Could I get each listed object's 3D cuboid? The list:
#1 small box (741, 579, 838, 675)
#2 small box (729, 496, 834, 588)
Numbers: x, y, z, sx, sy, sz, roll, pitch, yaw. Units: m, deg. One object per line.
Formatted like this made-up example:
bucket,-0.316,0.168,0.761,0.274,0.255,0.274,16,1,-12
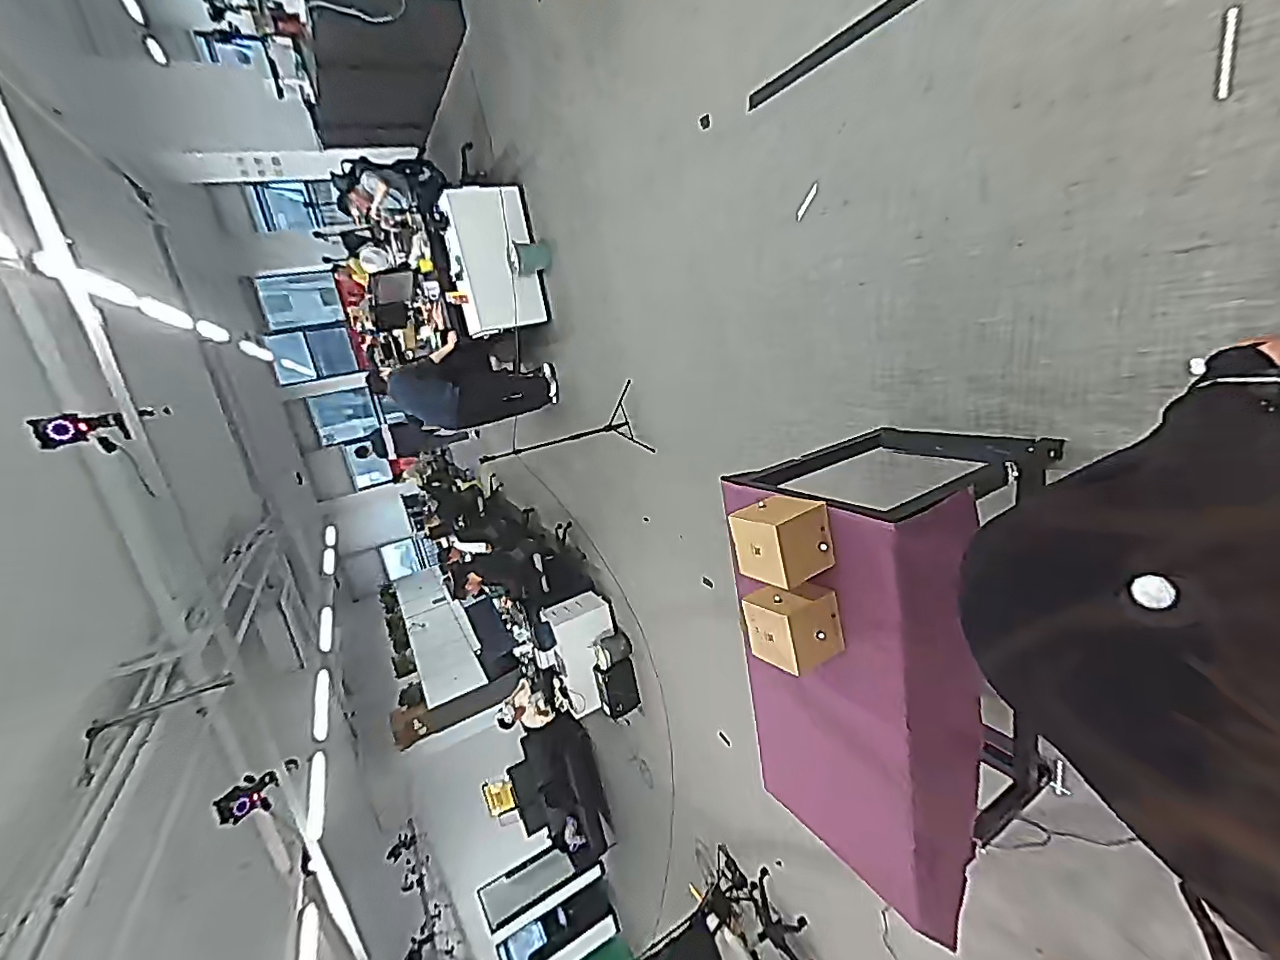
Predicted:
small box,0.398,0.372,1.415,0.179,0.176,0.168,7,113,62
small box,0.352,0.145,1.353,0.179,0.176,0.168,11,118,62
